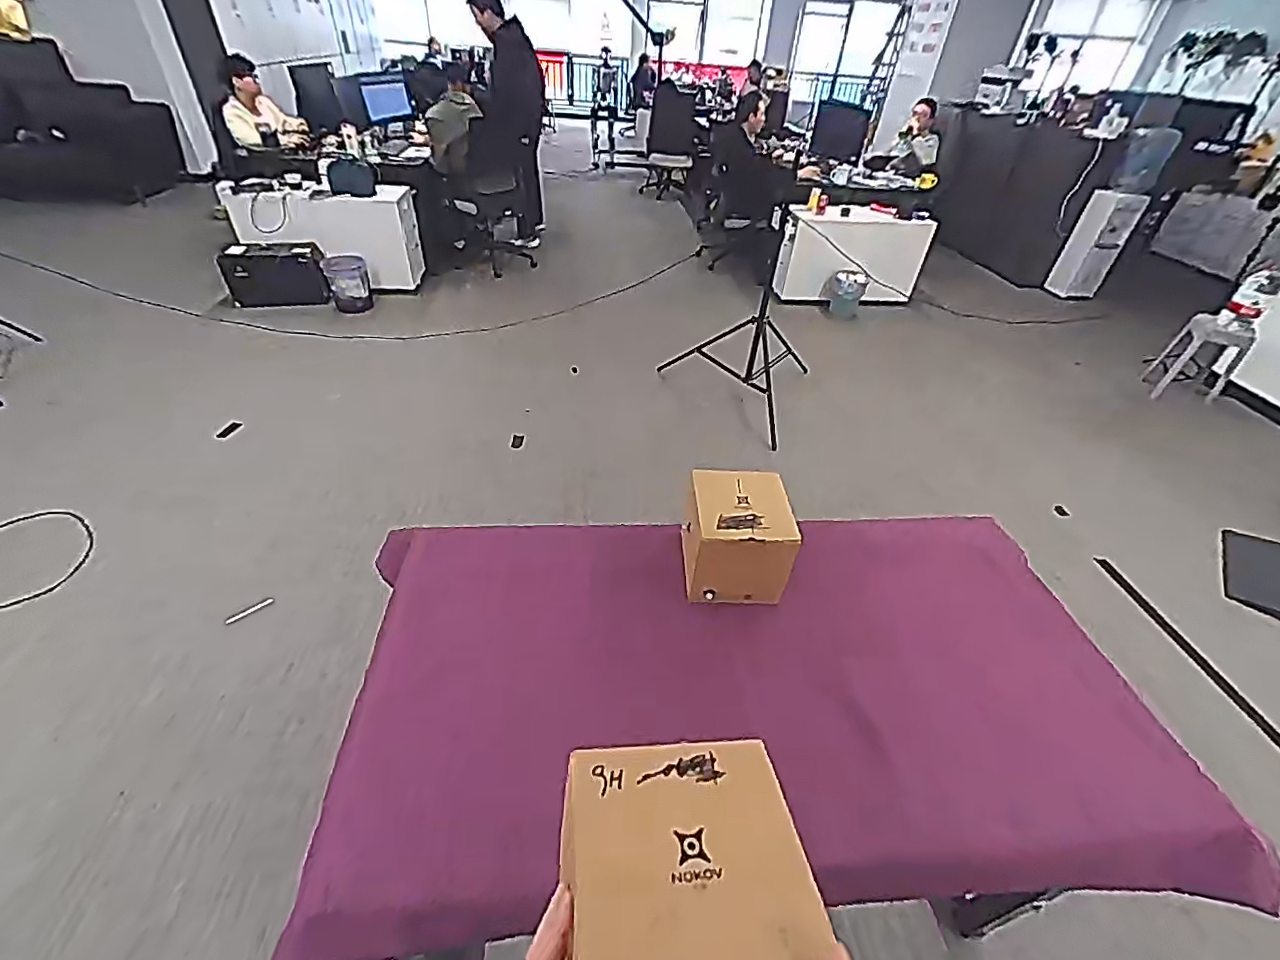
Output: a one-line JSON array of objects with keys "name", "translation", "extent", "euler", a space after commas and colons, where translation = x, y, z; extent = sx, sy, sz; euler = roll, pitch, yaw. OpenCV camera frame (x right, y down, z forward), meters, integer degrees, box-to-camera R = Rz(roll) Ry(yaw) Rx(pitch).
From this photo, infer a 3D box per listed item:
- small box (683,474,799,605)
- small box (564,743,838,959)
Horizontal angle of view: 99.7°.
[{"name": "small box", "translation": [0.173, 0.109, 0.981], "extent": [0.168, 0.176, 0.179], "euler": [2, 40, -3]}, {"name": "small box", "translation": [0.028, 0.337, 0.418], "extent": [0.168, 0.176, 0.179], "euler": [2, 32, -11]}]
